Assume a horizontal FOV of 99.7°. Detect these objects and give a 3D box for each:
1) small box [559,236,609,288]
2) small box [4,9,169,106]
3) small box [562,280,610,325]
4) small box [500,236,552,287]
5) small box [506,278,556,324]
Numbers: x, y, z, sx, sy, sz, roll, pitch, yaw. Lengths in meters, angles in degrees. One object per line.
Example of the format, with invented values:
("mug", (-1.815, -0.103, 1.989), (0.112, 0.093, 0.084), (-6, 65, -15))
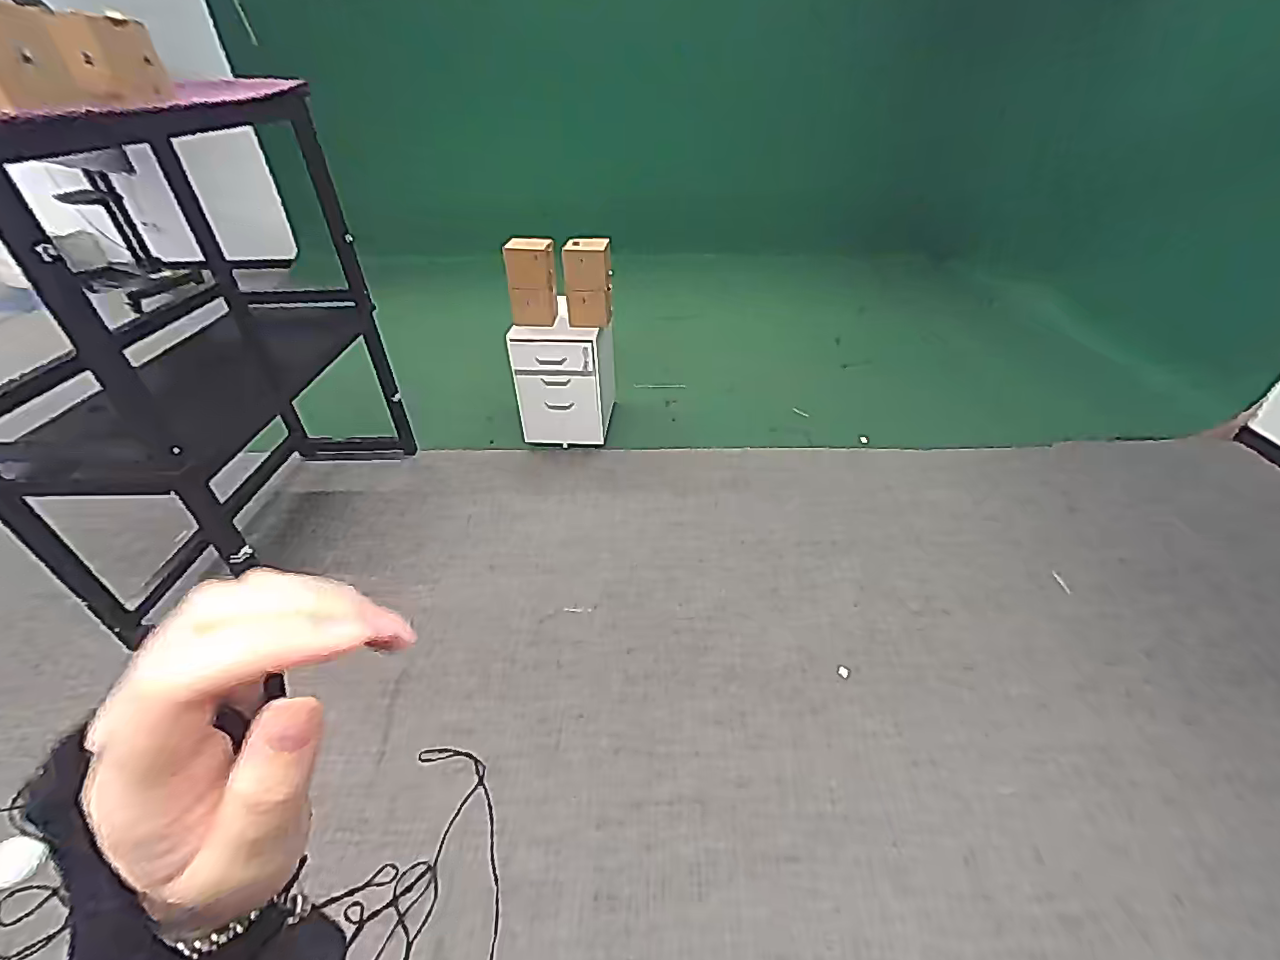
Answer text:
("small box", (-0.233, -0.921, 2.288), (0.179, 0.176, 0.168), (3, 39, 6))
("small box", (-1.281, -0.991, 1.272), (0.179, 0.176, 0.168), (0, 37, 2))
("small box", (-0.235, -0.796, 2.394), (0.179, 0.176, 0.168), (3, 39, 6))
("small box", (-0.485, -0.938, 2.321), (0.179, 0.176, 0.168), (4, 38, 3))
("small box", (-0.484, -0.808, 2.420), (0.179, 0.176, 0.168), (2, 38, 3))
